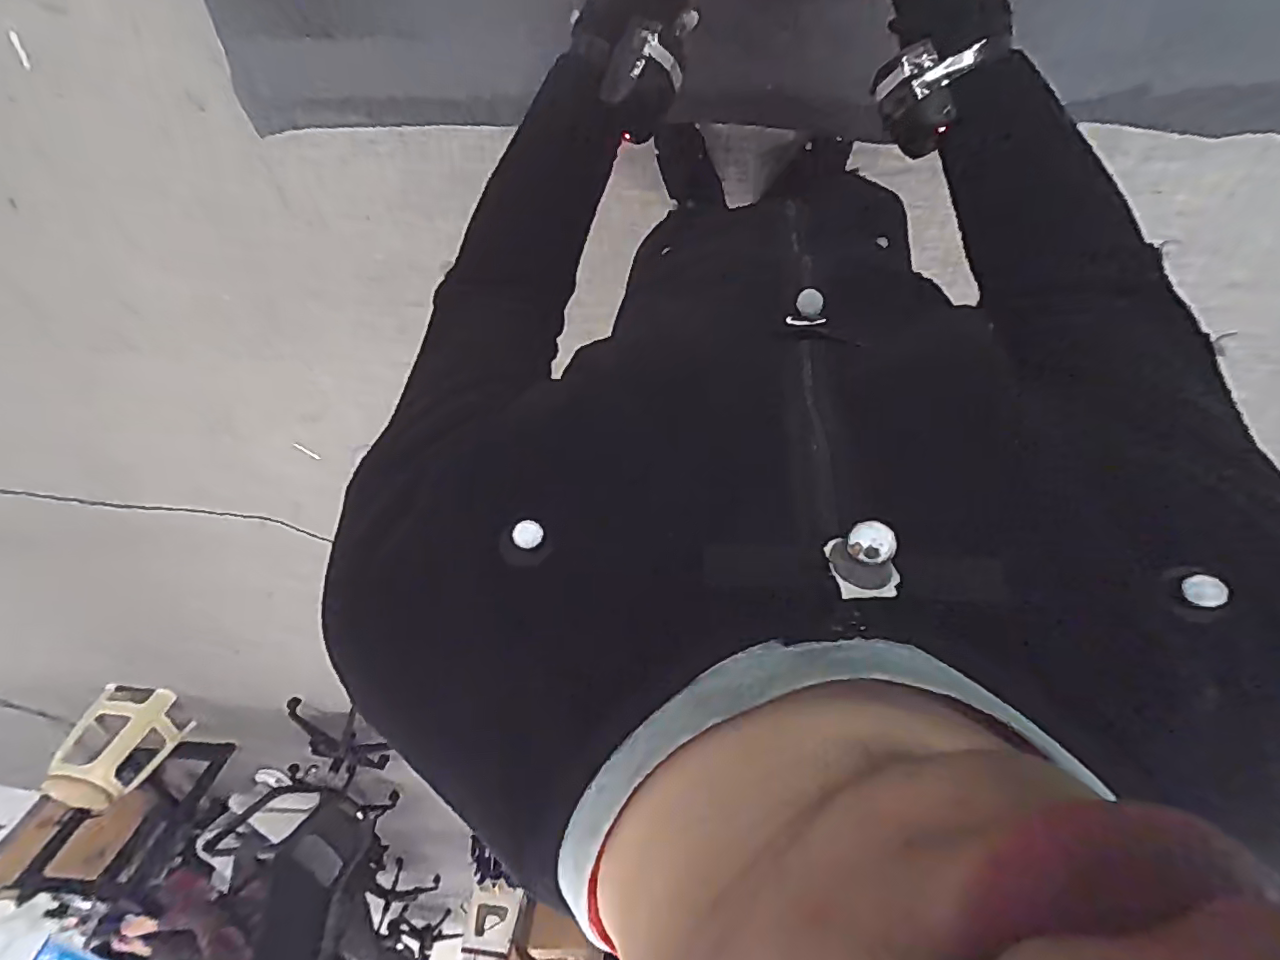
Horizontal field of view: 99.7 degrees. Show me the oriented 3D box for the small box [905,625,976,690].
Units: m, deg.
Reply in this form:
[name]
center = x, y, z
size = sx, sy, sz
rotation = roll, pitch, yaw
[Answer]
[small box]
center = 1.135, 0.673, 2.057
size = 0.168, 0.176, 0.179
rotation = 1, 125, 4
